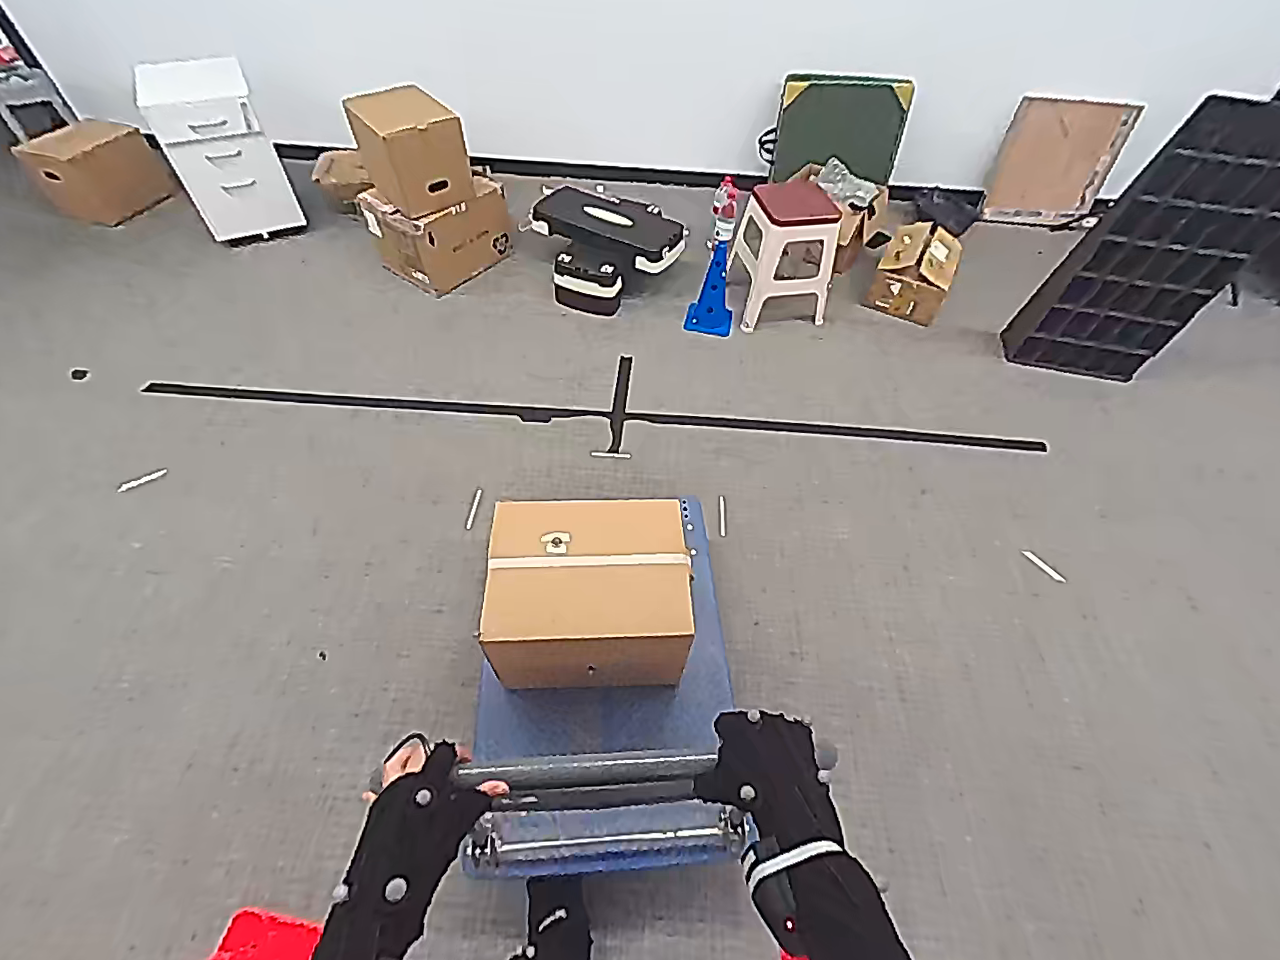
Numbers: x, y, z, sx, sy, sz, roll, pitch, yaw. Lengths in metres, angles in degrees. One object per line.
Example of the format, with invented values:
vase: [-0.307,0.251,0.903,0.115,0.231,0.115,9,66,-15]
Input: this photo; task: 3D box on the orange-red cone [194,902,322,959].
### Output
orange-red cone: [-0.740,0.853,0.915,0.198,0.360,0.199,12,51,4]

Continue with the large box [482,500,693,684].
large box: [-0.109,0.259,1.222,0.408,0.320,0.320,-1,53,-3]
